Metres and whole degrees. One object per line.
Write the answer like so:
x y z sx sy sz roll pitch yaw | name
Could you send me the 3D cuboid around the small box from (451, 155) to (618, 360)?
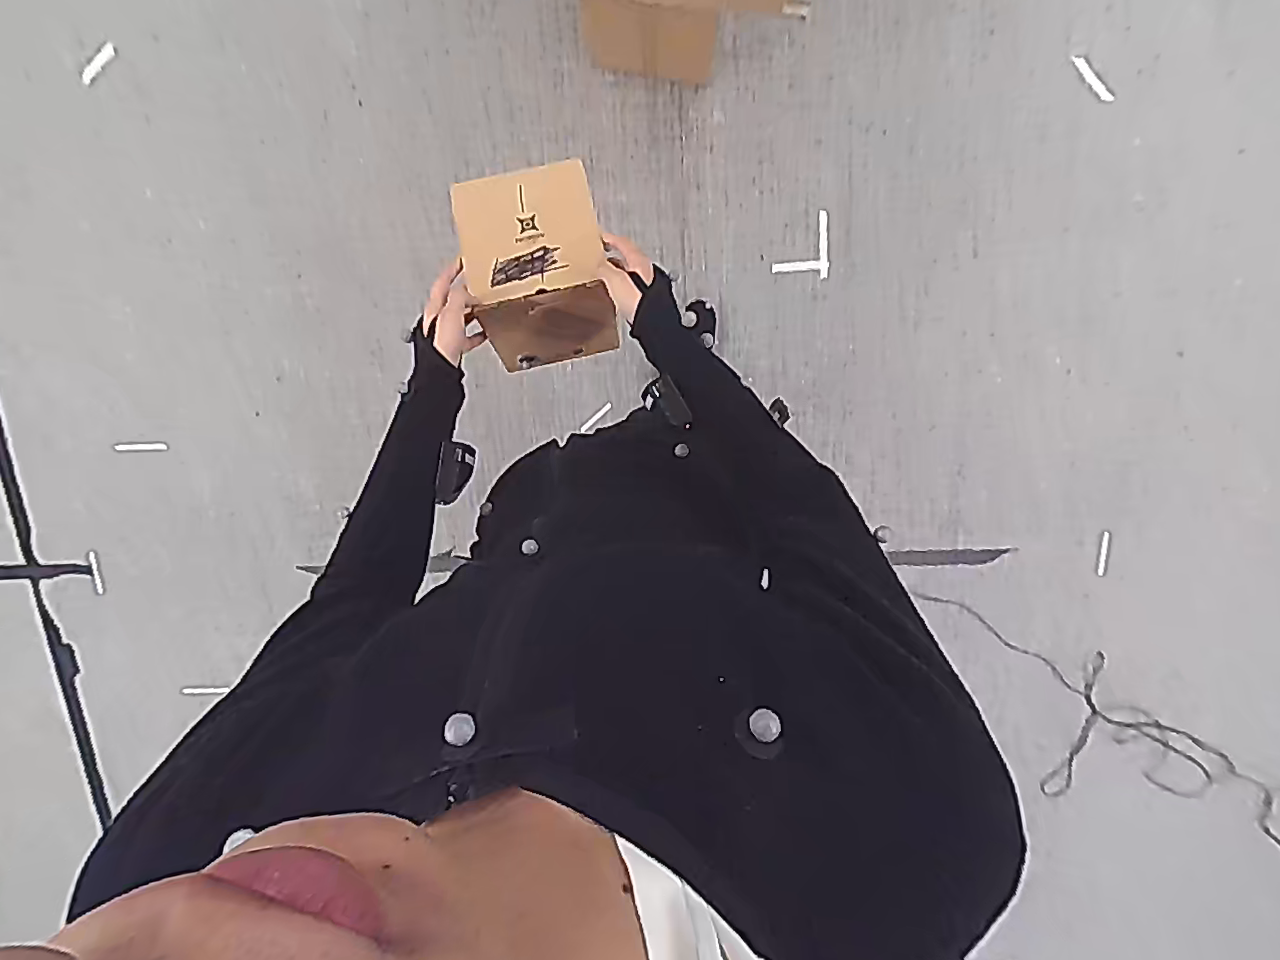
-0.127 -0.275 0.708 0.168 0.176 0.179 -13 75 -2 | small box
